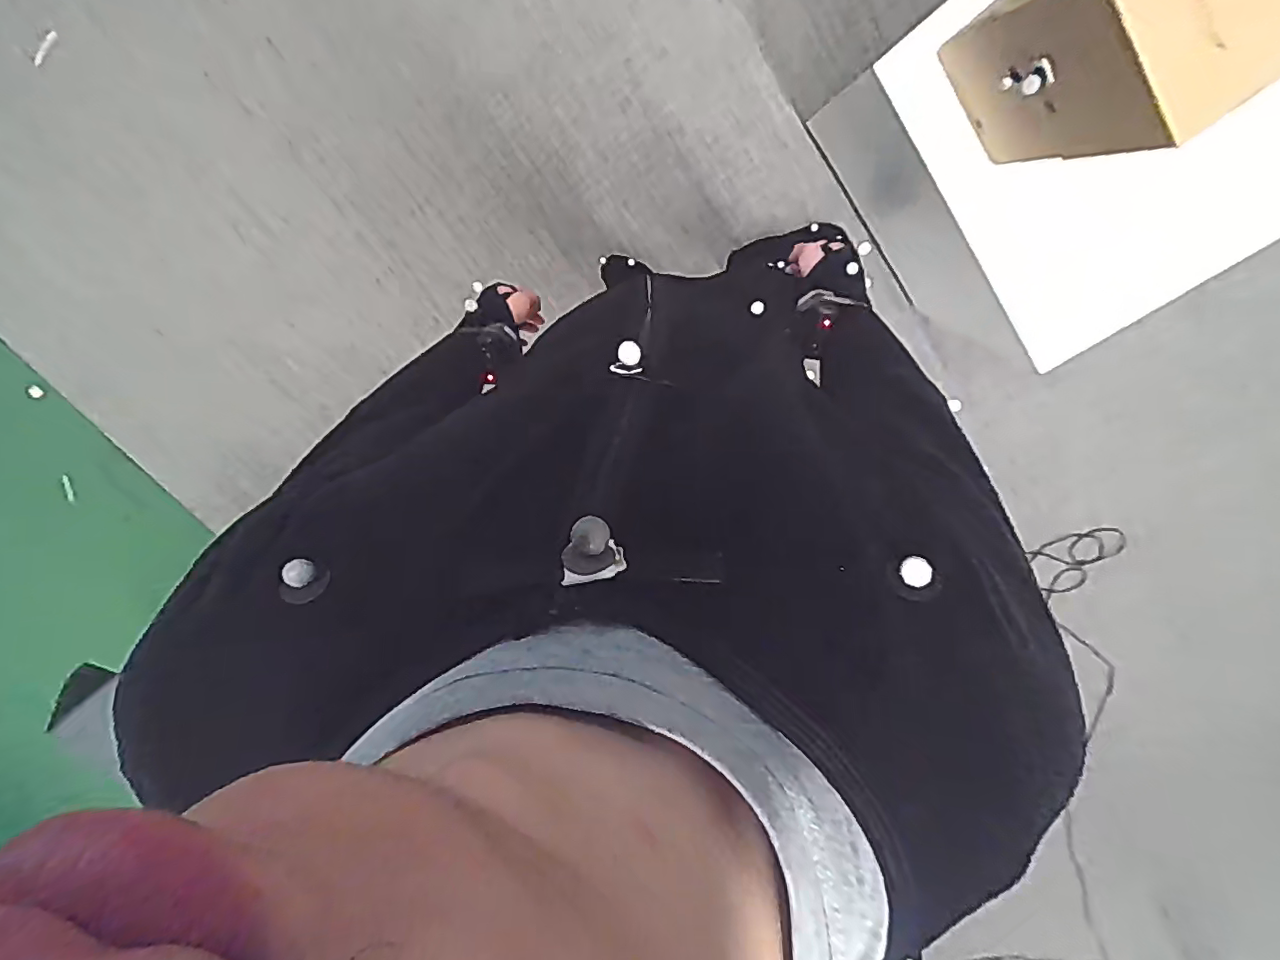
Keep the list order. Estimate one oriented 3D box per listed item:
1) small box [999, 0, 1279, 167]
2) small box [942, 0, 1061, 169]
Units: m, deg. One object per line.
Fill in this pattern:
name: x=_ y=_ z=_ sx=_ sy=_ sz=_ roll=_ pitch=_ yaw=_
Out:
small box: x=0.453 y=-0.397 z=0.452 sx=0.179 sy=0.176 sz=0.168 roll=-35 pitch=106 yaw=23
small box: x=0.476 y=-0.476 z=0.593 sx=0.179 sy=0.176 sz=0.168 roll=-34 pitch=108 yaw=21
